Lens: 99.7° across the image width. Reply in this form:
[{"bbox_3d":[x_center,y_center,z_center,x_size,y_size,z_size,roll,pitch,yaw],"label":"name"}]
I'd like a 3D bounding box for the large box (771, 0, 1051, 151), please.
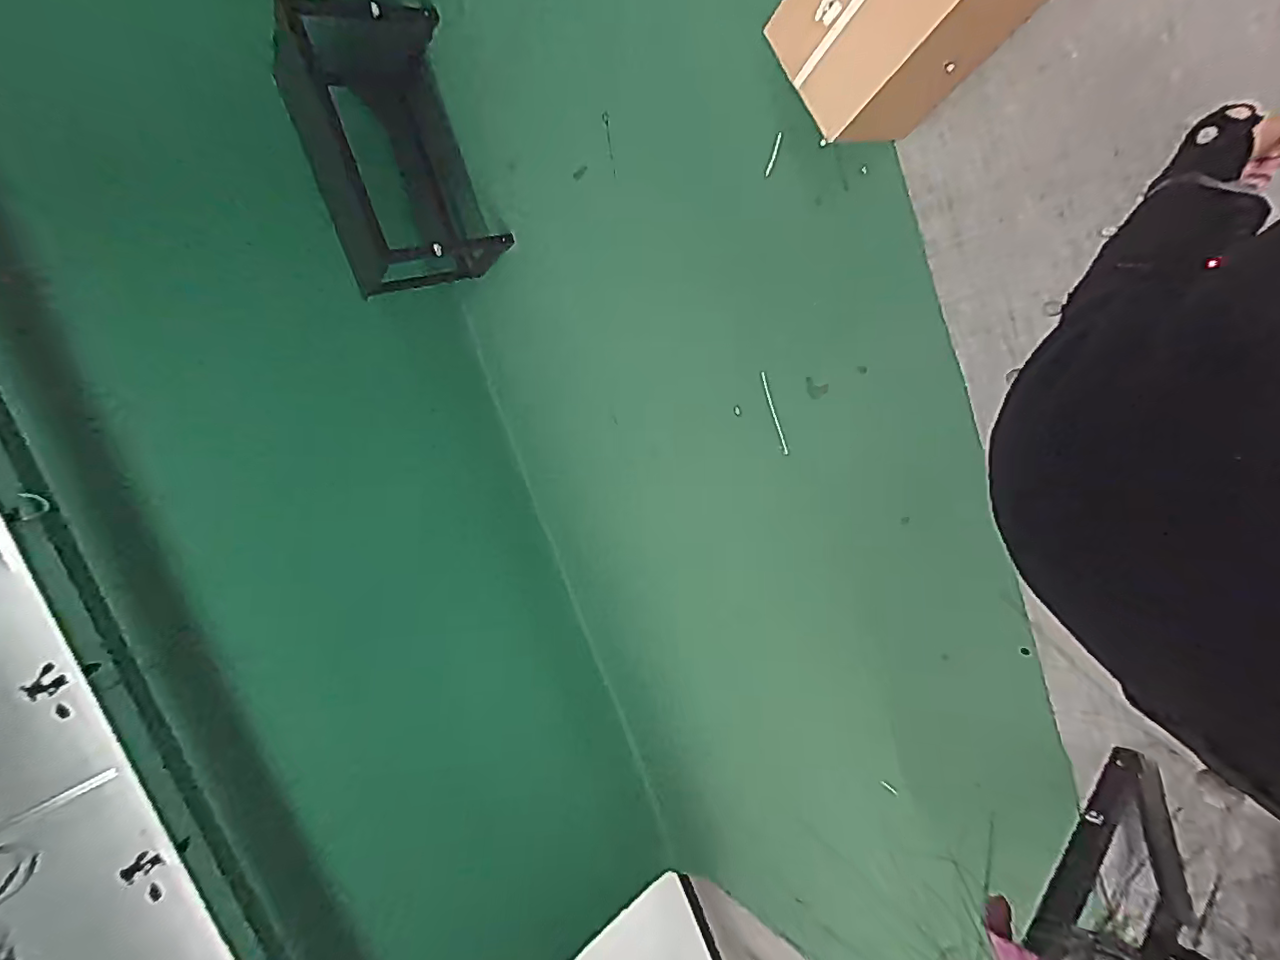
[{"bbox_3d":[0.566,-0.979,1.125,0.320,0.320,0.408,64,149,5],"label":"large box"}]
